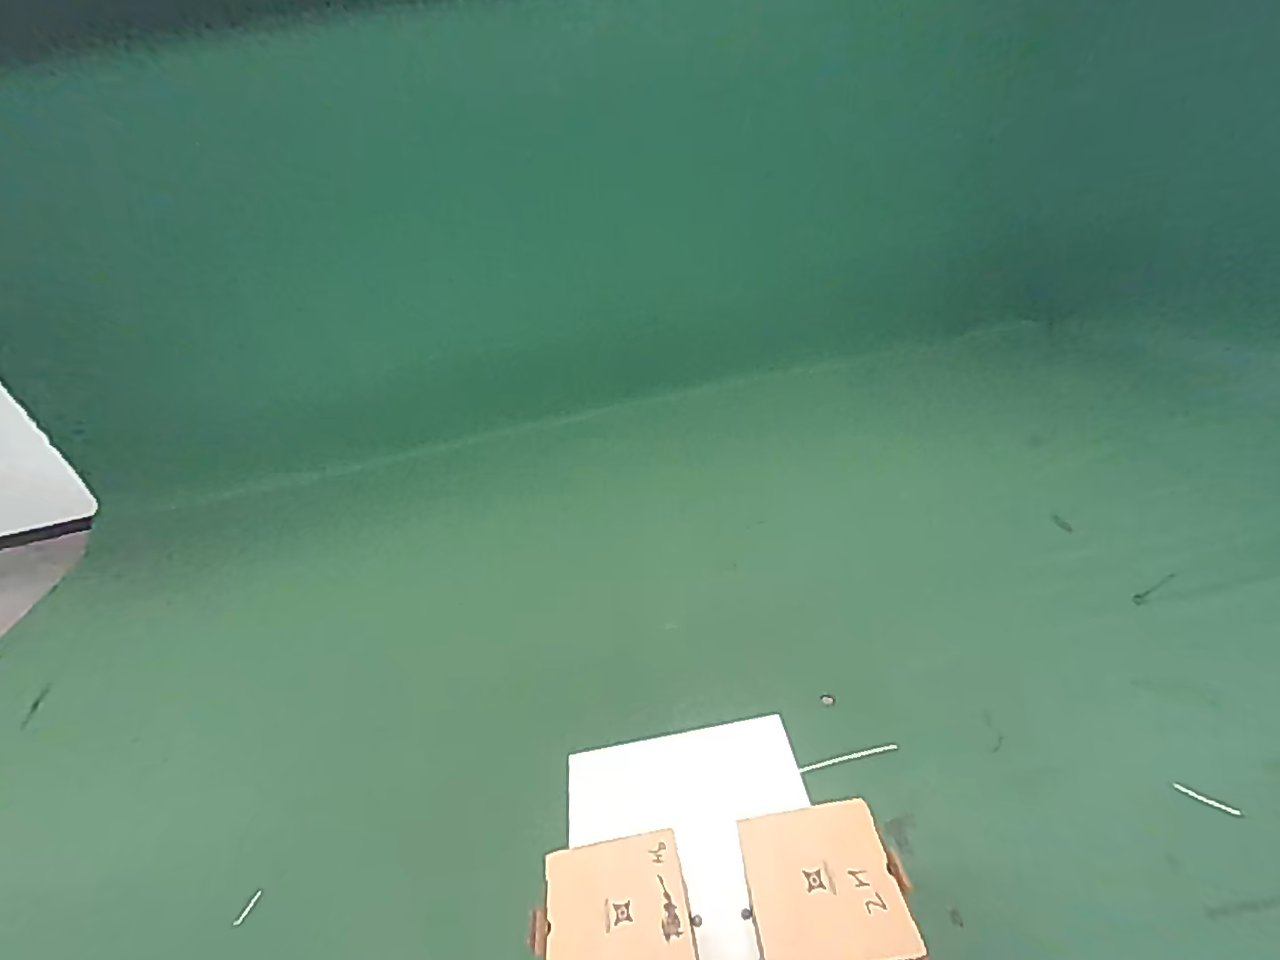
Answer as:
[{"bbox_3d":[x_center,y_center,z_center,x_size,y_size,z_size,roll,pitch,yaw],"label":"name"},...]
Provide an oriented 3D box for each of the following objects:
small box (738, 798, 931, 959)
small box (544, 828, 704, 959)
[{"bbox_3d":[0.231,0.537,0.678,0.179,0.176,0.168,-10,34,1],"label":"small box"},{"bbox_3d":[-0.015,0.583,0.685,0.179,0.176,0.168,-11,33,-2],"label":"small box"}]
